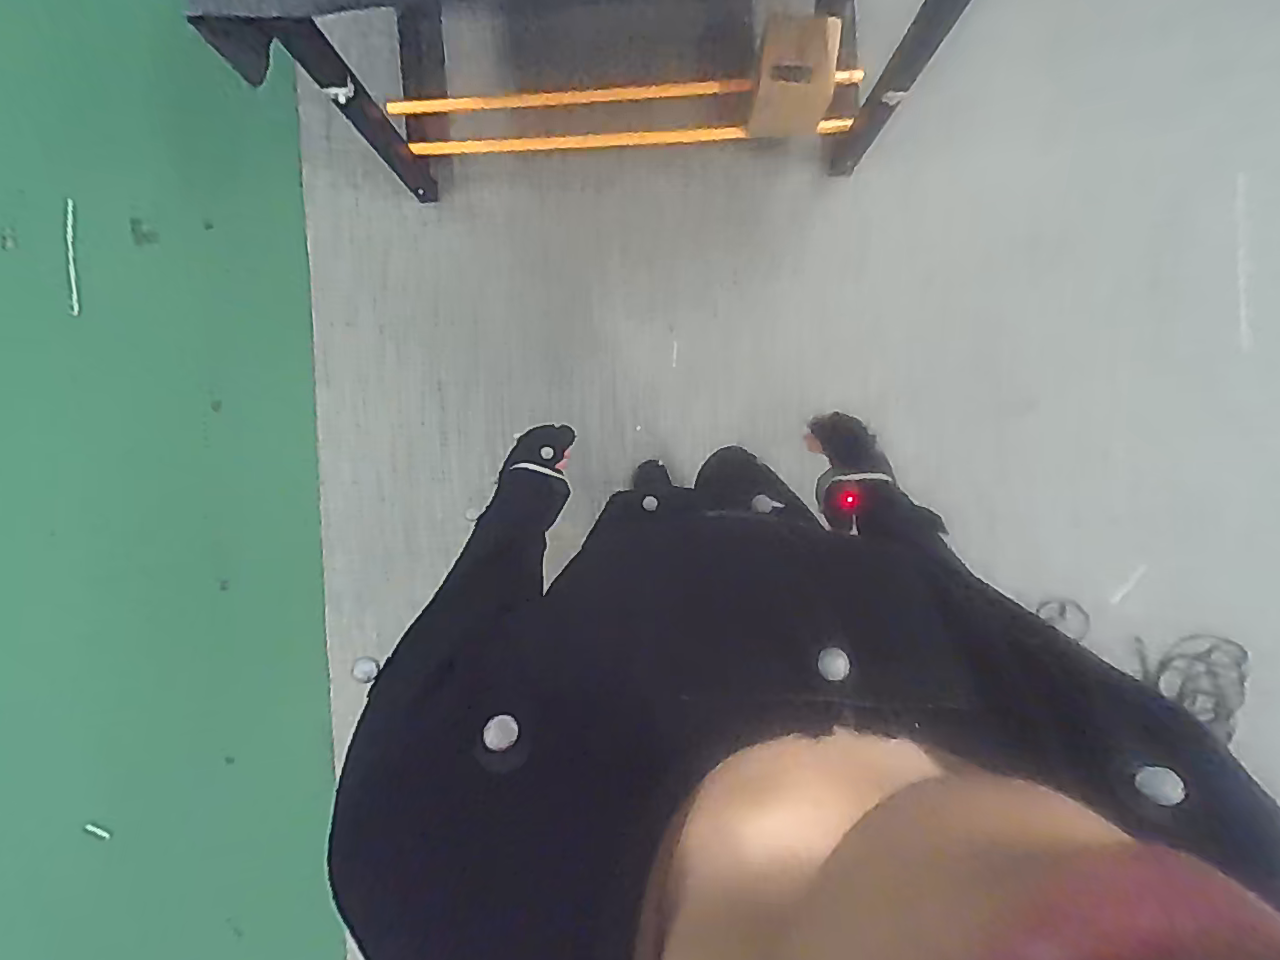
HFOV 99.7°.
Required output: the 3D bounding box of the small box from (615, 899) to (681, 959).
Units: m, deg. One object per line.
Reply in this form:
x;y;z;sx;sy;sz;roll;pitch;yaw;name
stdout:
0.023;1.247;1.414;0.168;0.176;0.179;-2;90;0;small box
